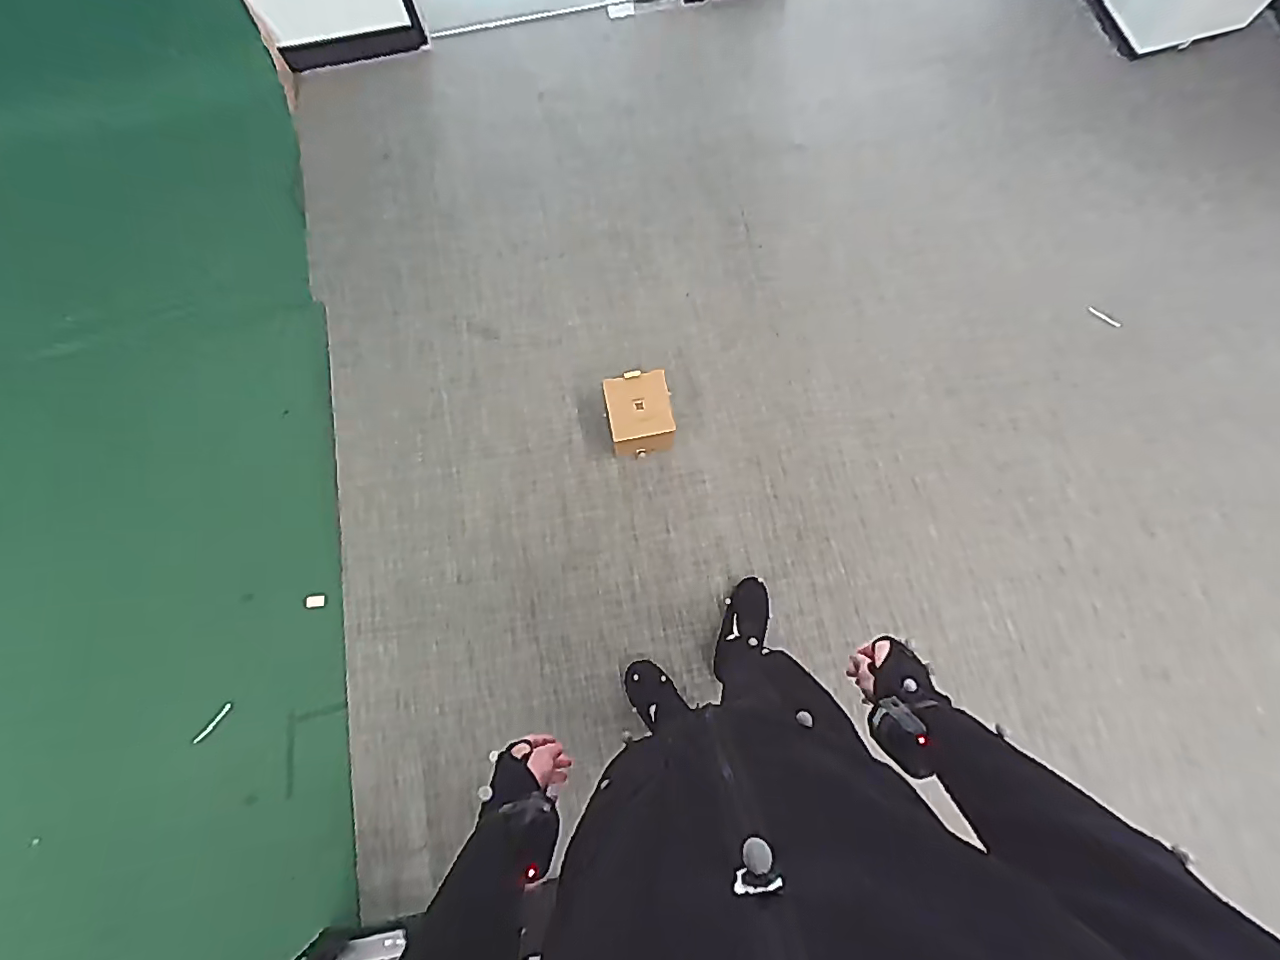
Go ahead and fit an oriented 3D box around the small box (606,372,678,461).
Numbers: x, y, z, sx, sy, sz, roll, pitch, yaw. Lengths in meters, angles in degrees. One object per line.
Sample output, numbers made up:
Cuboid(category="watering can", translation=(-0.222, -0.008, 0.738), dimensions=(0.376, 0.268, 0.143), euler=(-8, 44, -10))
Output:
Cuboid(category="small box", translation=(0.006, -0.167, 1.456), dimensions=(0.168, 0.176, 0.179), euler=(-9, 76, 1))
